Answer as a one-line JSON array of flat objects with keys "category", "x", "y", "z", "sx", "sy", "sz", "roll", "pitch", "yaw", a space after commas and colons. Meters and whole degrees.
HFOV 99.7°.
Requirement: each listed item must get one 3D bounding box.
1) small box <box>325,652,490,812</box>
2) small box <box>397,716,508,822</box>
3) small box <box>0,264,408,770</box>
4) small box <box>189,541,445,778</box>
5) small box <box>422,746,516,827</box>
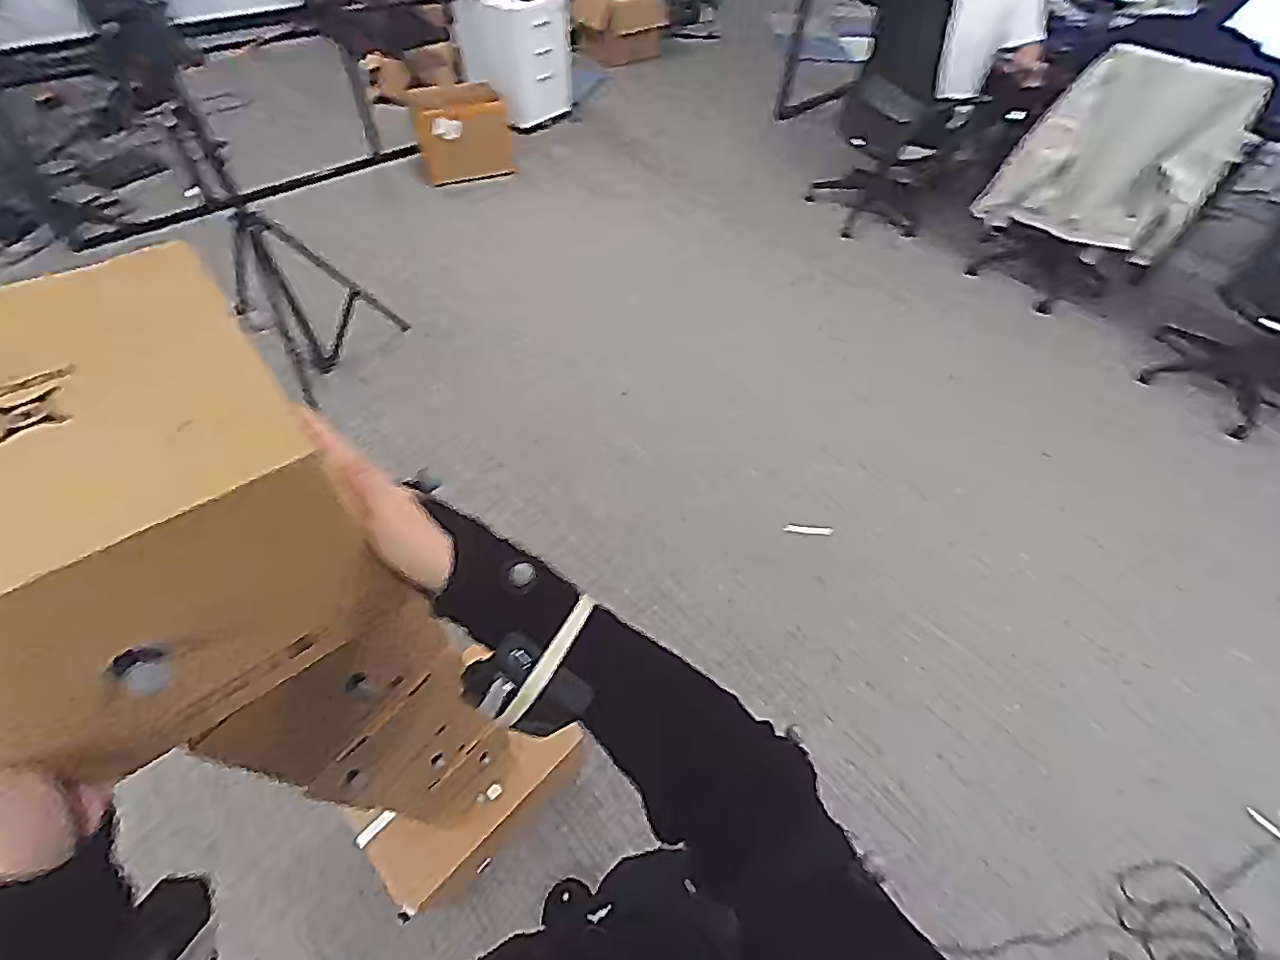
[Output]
[{"category": "small box", "x": -0.322, "y": 0.310, "z": 0.719, "sx": 0.179, "sy": 0.176, "sz": 0.168, "roll": 35, "pitch": 57, "yaw": 18}, {"category": "small box", "x": -0.329, "y": 0.405, "z": 0.853, "sx": 0.179, "sy": 0.176, "sz": 0.168, "roll": 38, "pitch": 59, "yaw": 21}, {"category": "small box", "x": -0.252, "y": 0.026, "z": 0.288, "sx": 0.168, "sy": 0.176, "sz": 0.179, "roll": -33, "pitch": 65, "yaw": -27}, {"category": "small box", "x": -0.292, "y": 0.120, "z": 0.452, "sx": 0.179, "sy": 0.176, "sz": 0.168, "roll": 32, "pitch": 57, "yaw": 15}, {"category": "small box", "x": -0.347, "y": 0.499, "z": 0.984, "sx": 0.179, "sy": 0.176, "sz": 0.168, "roll": 40, "pitch": 61, "yaw": 21}]
